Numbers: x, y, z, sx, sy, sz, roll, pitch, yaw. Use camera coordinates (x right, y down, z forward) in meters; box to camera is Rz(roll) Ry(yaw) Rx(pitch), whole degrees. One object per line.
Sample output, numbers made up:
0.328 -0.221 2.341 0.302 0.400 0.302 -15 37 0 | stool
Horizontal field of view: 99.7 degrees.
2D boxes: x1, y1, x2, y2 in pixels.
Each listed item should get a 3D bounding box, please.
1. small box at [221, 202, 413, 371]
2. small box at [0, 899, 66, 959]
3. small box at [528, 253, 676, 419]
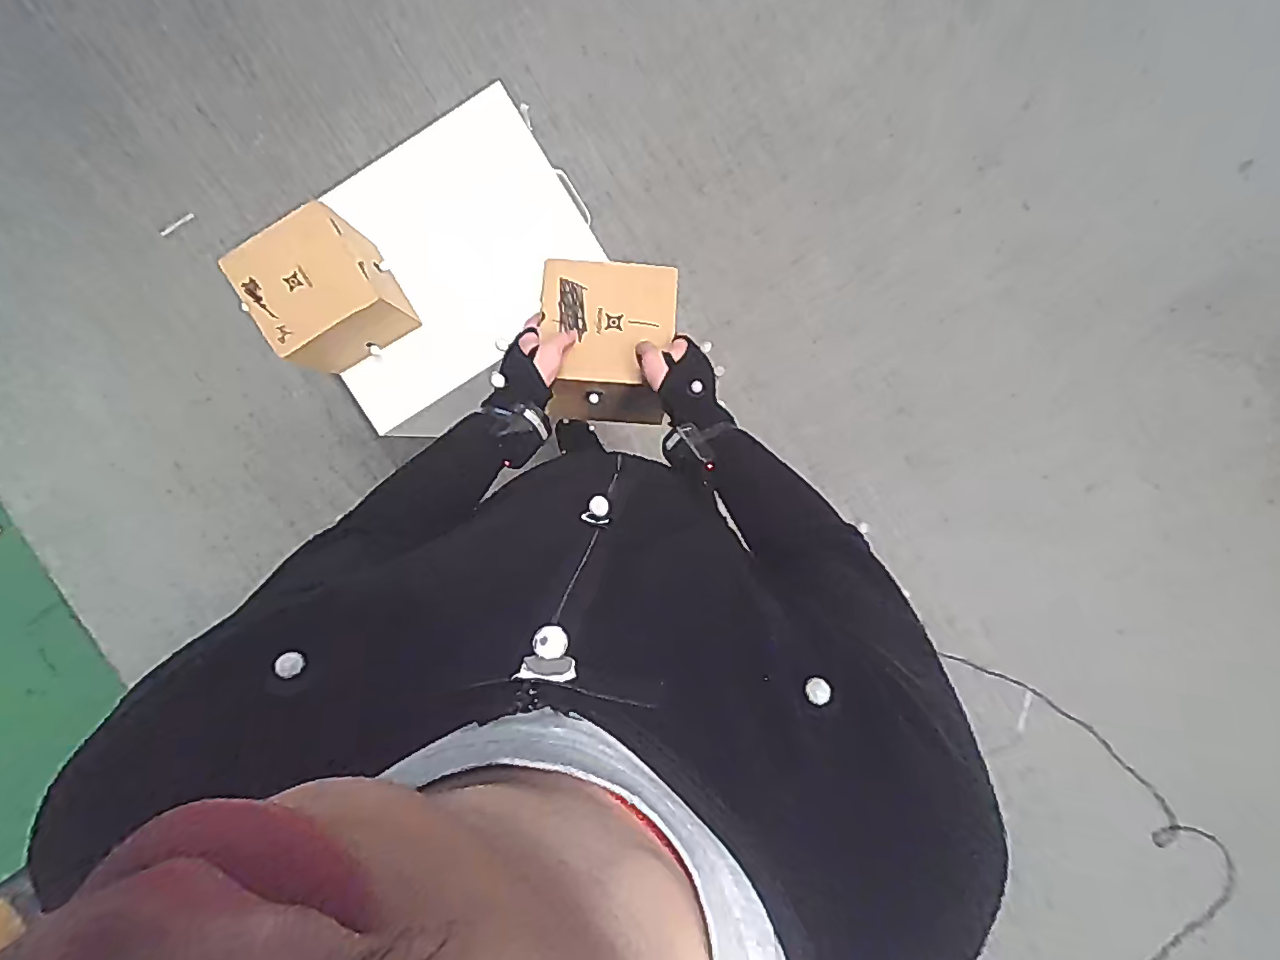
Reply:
-0.489 -0.293 0.857 0.179 0.176 0.168 -31 93 0 | small box
-1.042 0.778 0.806 0.168 0.176 0.179 -31 95 3 | small box
-0.048 -0.189 0.755 0.179 0.176 0.168 4 80 -2 | small box
